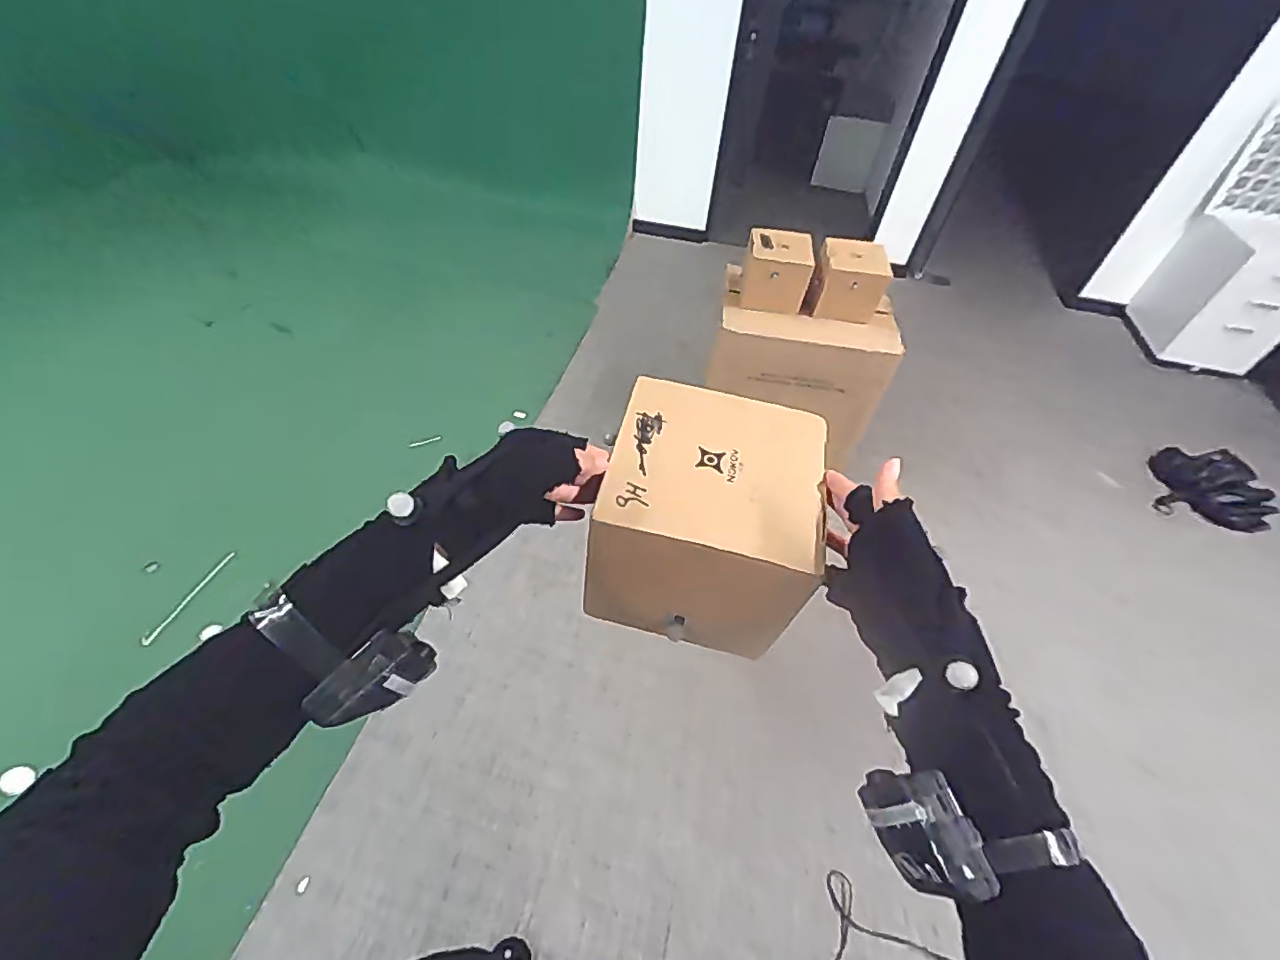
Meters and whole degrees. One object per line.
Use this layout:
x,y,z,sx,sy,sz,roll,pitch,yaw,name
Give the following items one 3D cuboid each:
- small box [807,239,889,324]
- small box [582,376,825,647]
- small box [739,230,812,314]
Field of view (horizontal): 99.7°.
0.610,-0.587,1.613,0.179,0.176,0.168,8,54,-1,small box
0.054,0.036,0.503,0.179,0.176,0.168,15,50,2,small box
0.398,-0.619,1.616,0.179,0.176,0.168,9,53,0,small box
